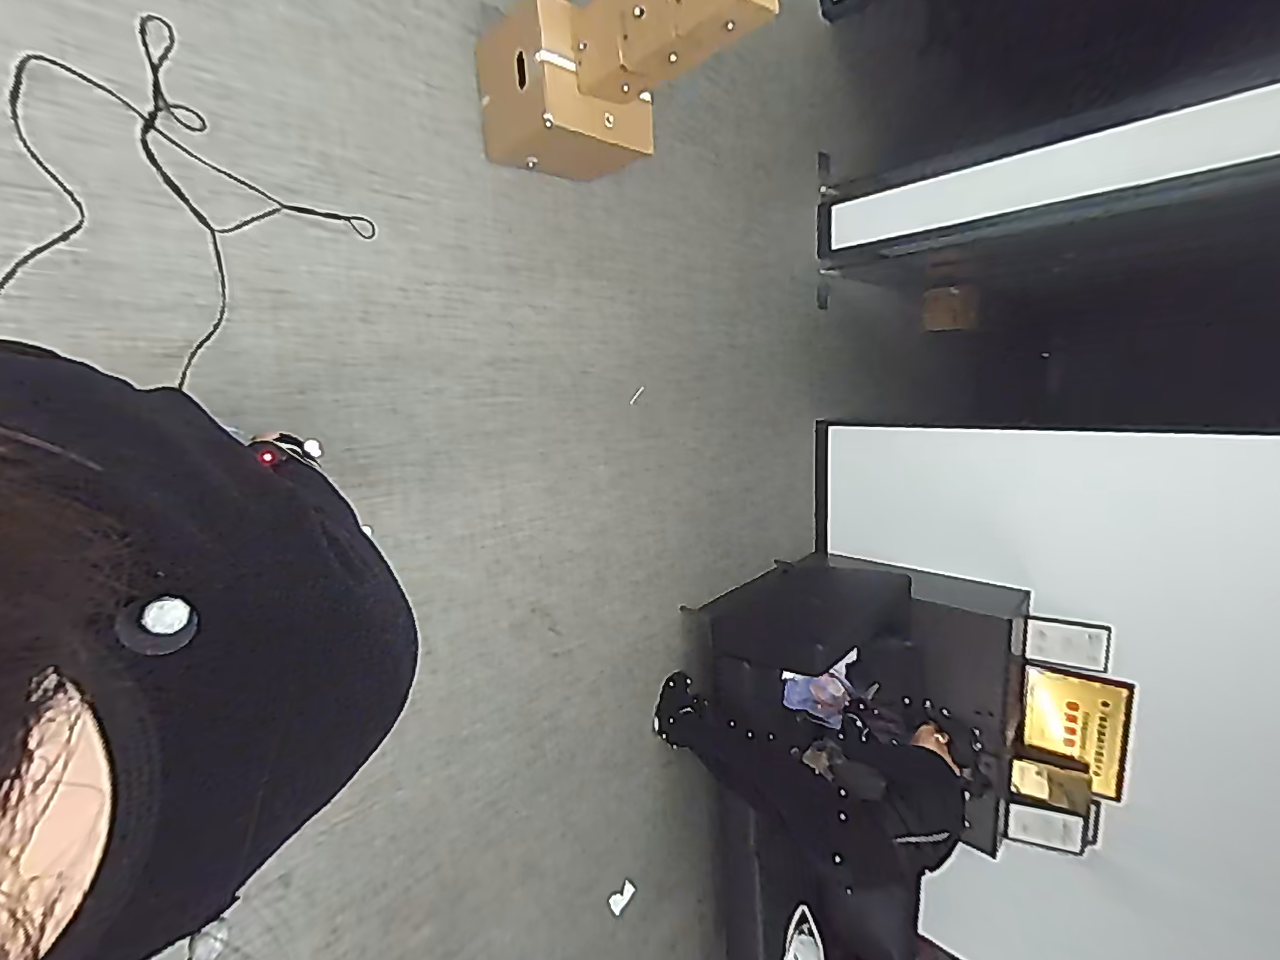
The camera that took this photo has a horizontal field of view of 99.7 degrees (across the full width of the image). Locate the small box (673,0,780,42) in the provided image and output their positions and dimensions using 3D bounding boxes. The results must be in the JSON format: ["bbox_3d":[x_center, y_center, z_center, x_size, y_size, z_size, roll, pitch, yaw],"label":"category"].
[{"bbox_3d":[0.185,-1.112,1.195,0.179,0.176,0.168,-27,113,-40],"label":"small box"}]

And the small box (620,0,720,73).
[{"bbox_3d":[0.066,-1.125,1.310,0.179,0.176,0.168,-26,112,-40],"label":"small box"}]
